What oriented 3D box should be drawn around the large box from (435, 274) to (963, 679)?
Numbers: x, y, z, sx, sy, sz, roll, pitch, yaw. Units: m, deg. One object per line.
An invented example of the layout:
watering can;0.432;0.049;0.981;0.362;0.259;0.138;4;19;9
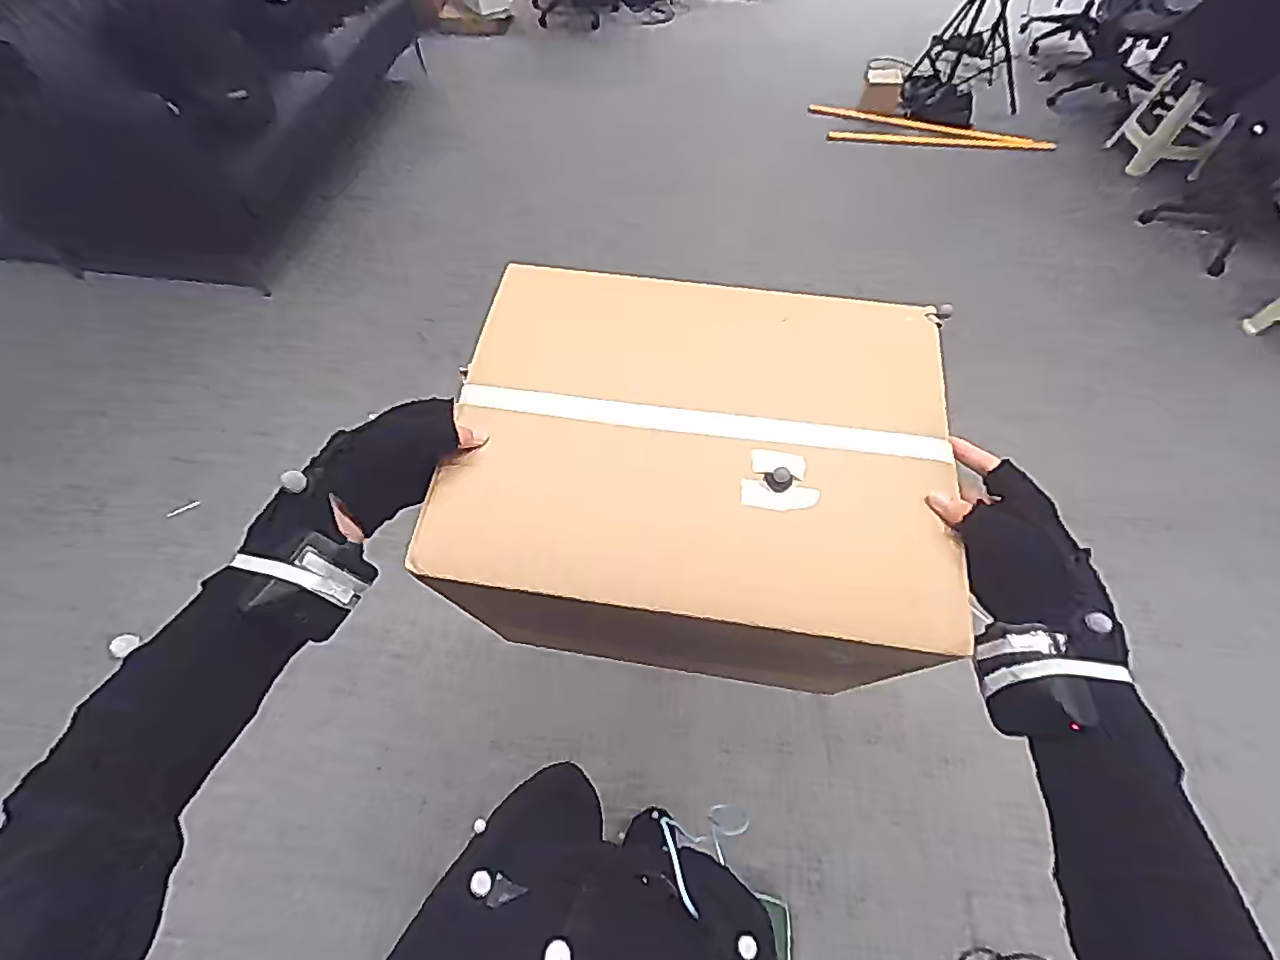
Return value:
large box;0.056;0.017;0.597;0.408;0.320;0.320;8;65;3
